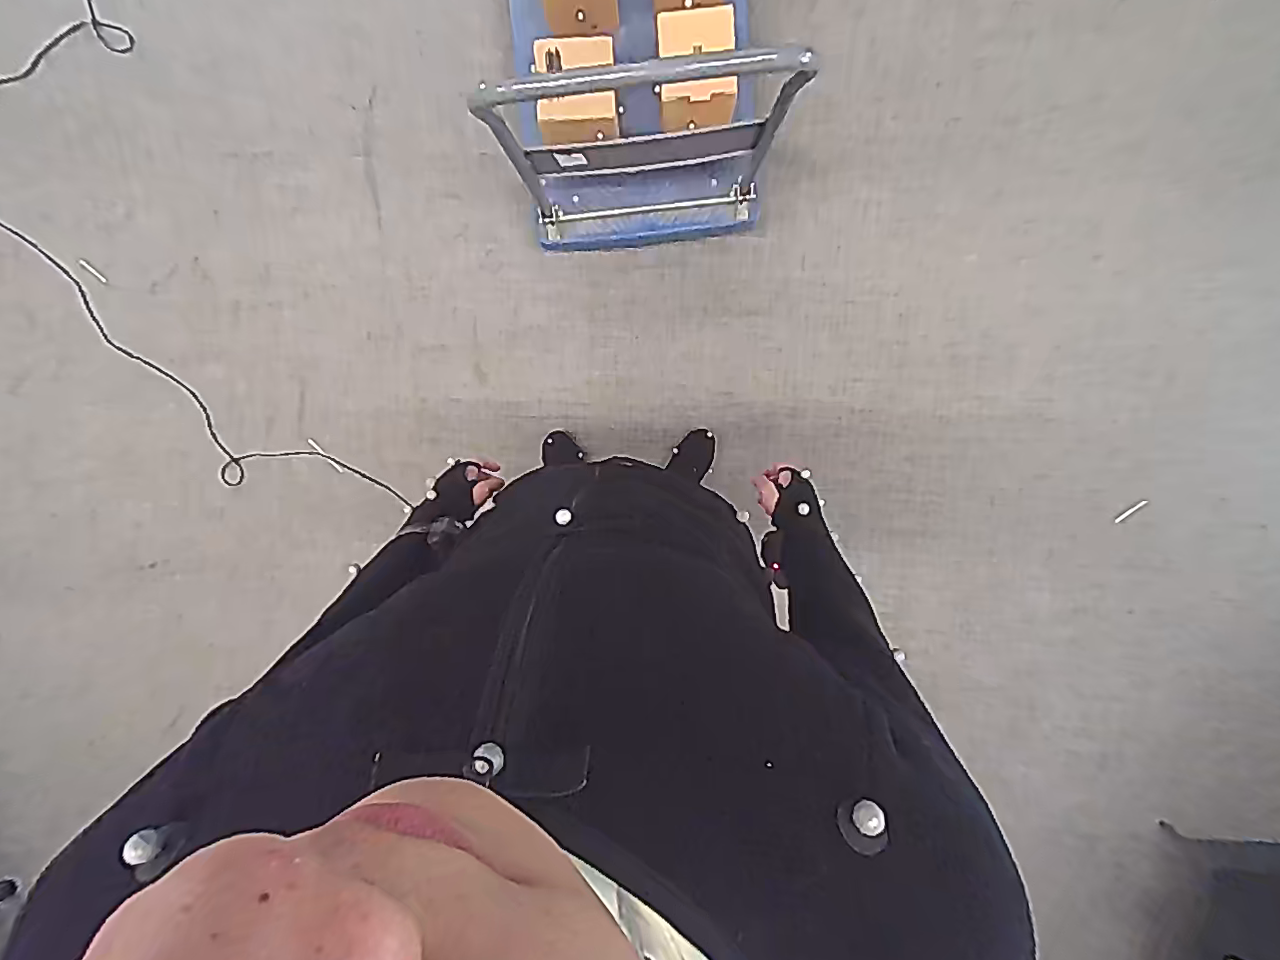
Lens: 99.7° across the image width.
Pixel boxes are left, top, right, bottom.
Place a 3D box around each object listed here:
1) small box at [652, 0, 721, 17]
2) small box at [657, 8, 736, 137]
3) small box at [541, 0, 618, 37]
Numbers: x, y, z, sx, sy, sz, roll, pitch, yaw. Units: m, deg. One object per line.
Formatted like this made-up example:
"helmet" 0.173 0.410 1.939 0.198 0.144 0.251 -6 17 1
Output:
"small box" 0.099 -1.207 1.227 0.168 0.176 0.179 -9 98 5
"small box" 0.127 -0.940 1.262 0.168 0.176 0.179 -5 98 3
"small box" -0.149 -1.167 1.245 0.168 0.176 0.179 -9 97 3
